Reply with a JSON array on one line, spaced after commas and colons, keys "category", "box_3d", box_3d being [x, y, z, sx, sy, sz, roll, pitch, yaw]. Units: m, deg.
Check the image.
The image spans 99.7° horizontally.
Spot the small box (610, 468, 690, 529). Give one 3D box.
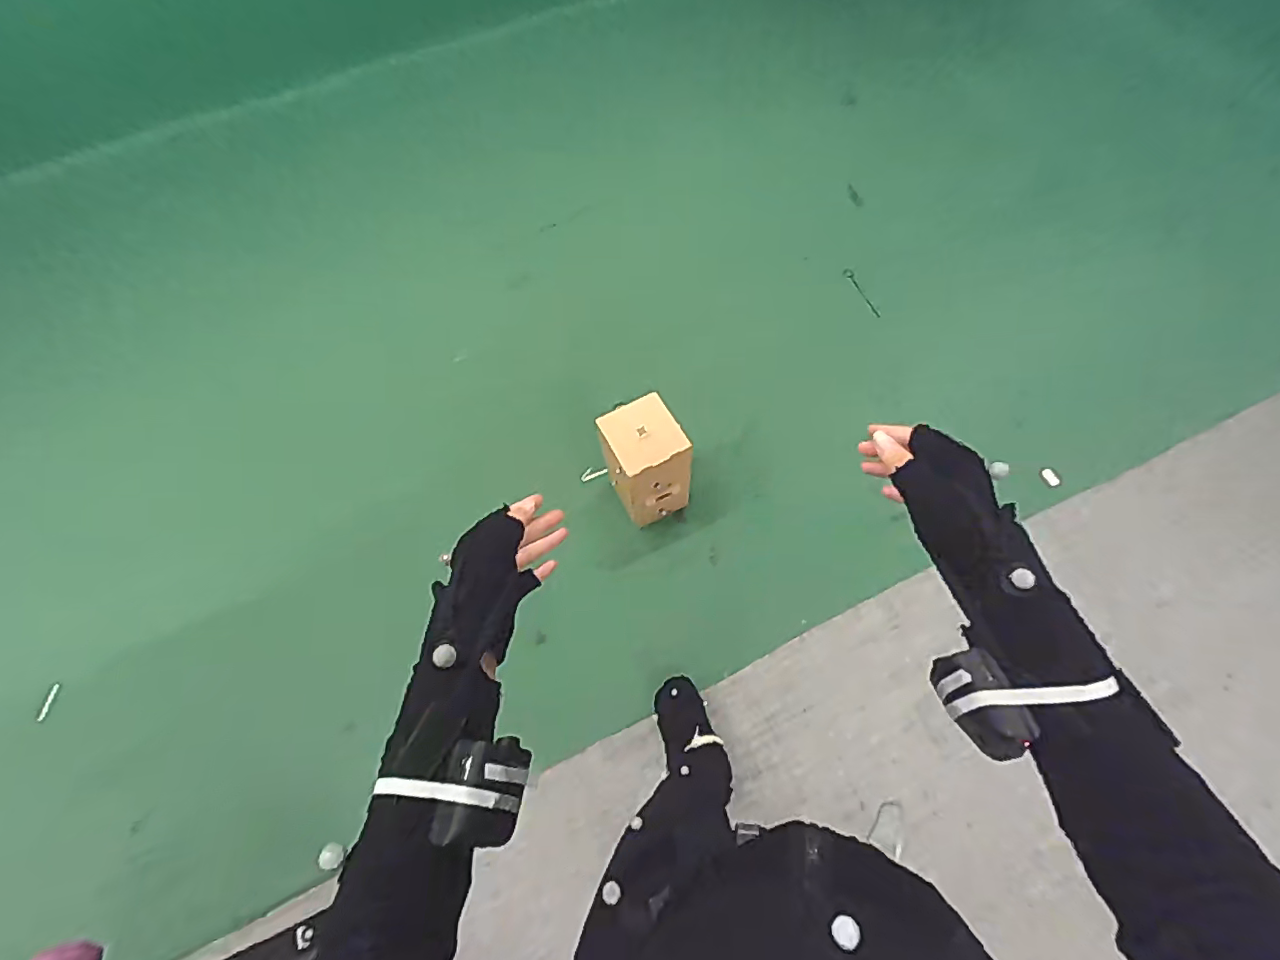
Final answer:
[{"category": "small box", "box_3d": [0.023, 0.004, 1.475, 0.168, 0.176, 0.179, -26, 65, -9]}]

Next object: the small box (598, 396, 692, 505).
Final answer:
[{"category": "small box", "box_3d": [0.011, -0.068, 1.329, 0.168, 0.176, 0.179, -27, 66, -10]}]
